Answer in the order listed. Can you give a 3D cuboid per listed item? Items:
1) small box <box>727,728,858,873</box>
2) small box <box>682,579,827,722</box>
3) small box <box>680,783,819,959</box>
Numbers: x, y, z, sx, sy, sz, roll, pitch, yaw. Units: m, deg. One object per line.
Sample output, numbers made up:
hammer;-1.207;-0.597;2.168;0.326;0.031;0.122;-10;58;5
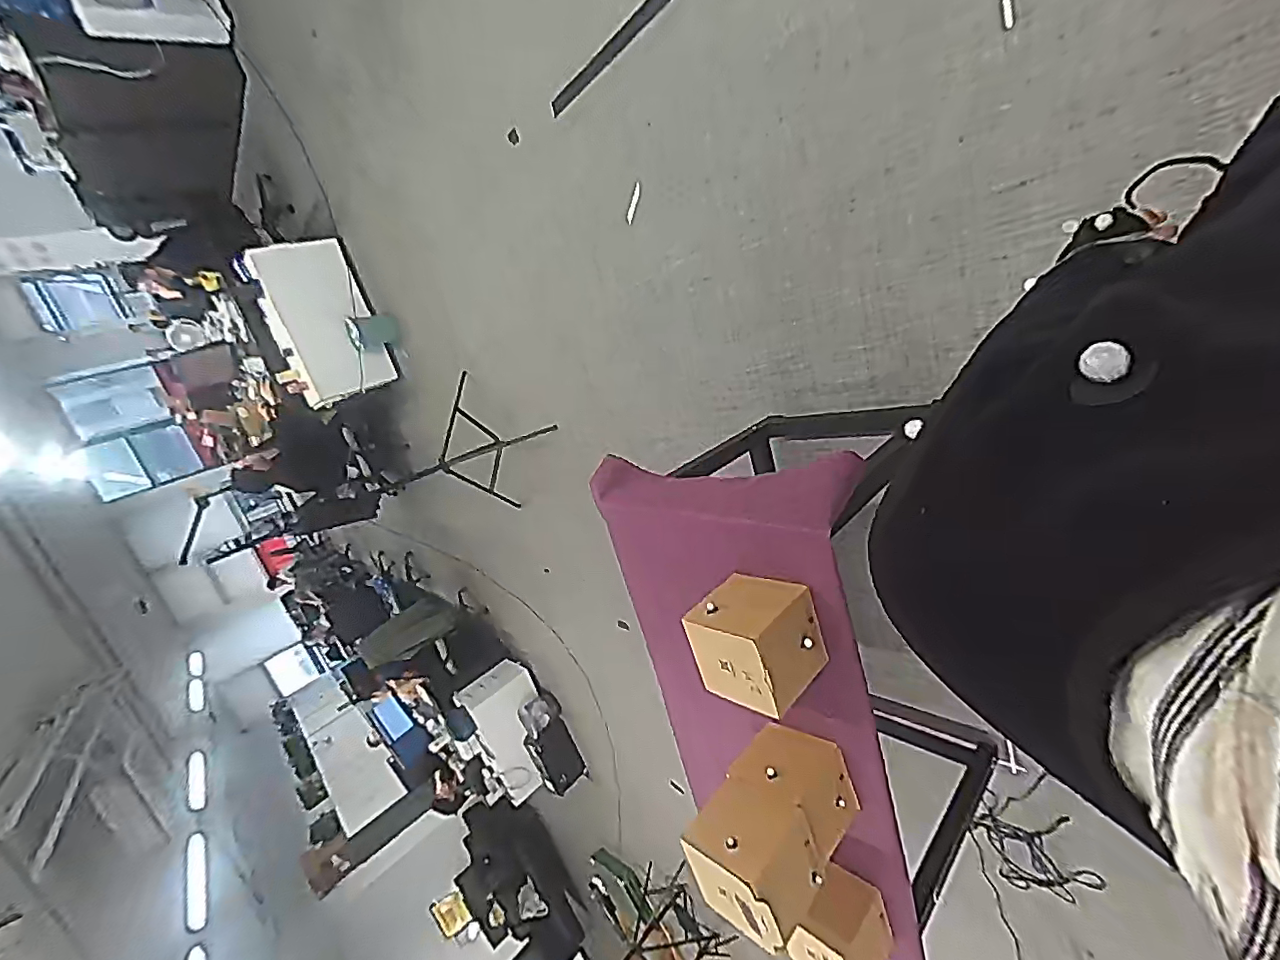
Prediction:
small box;0.317;0.648;1.119;0.179;0.176;0.168;-6;109;51
small box;0.213;0.301;0.998;0.179;0.176;0.168;0;115;50
small box;0.212;0.711;1.008;0.179;0.176;0.168;-4;110;51
